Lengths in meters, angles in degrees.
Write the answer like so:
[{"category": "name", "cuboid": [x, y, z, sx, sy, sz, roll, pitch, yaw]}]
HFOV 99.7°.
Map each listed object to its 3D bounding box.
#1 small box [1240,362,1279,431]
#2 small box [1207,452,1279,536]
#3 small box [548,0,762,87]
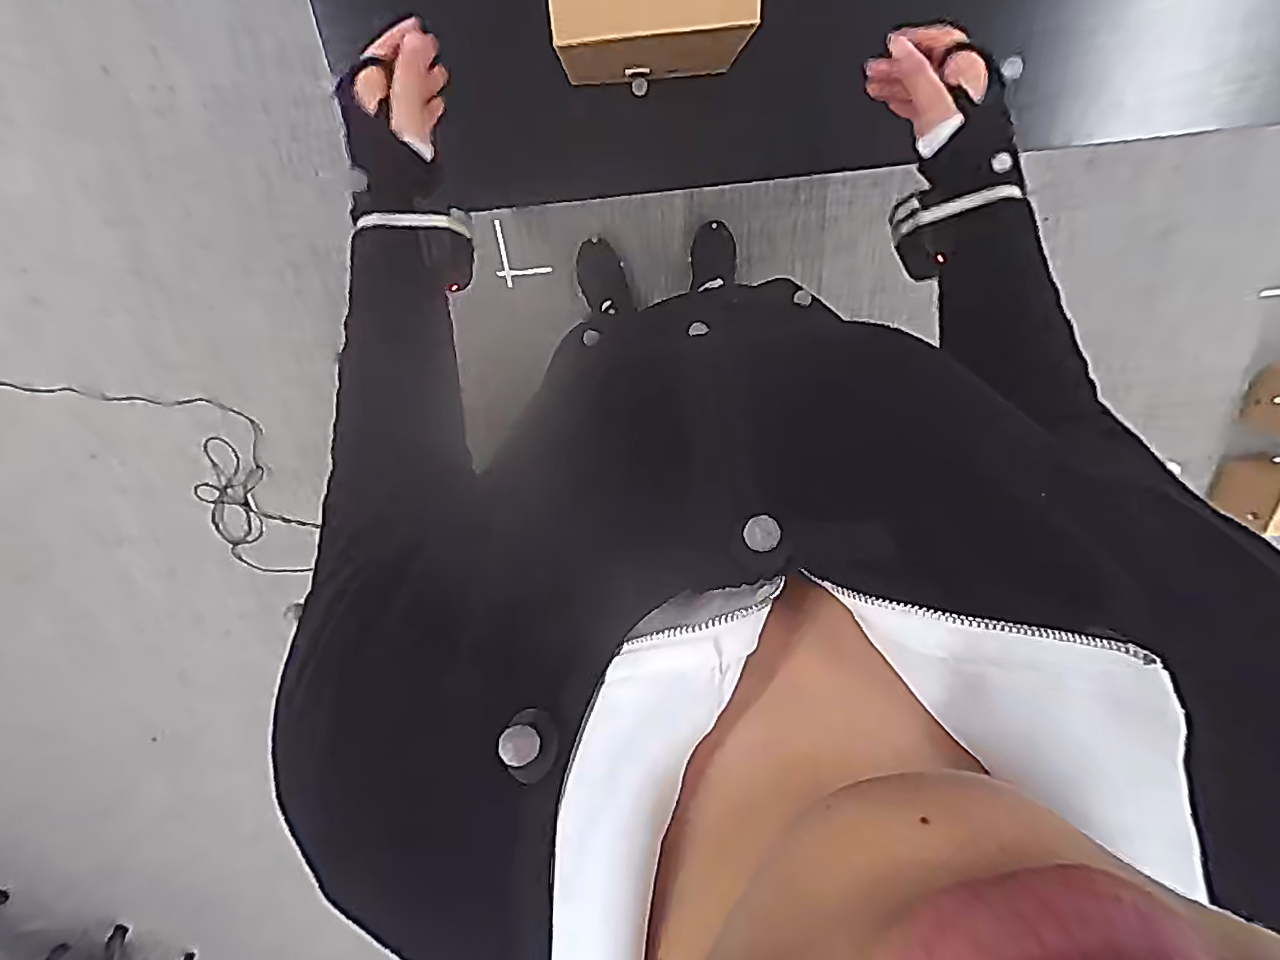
[{"category": "small box", "cuboid": [1.781, -0.216, 1.430, 0.179, 0.176, 0.168, -3, 116, 1]}, {"category": "small box", "cuboid": [1.814, 0.038, 1.559, 0.168, 0.176, 0.179, -6, 117, 2]}, {"category": "small box", "cuboid": [0.004, -0.459, 0.453, 0.168, 0.176, 0.179, -5, 117, 2]}]
